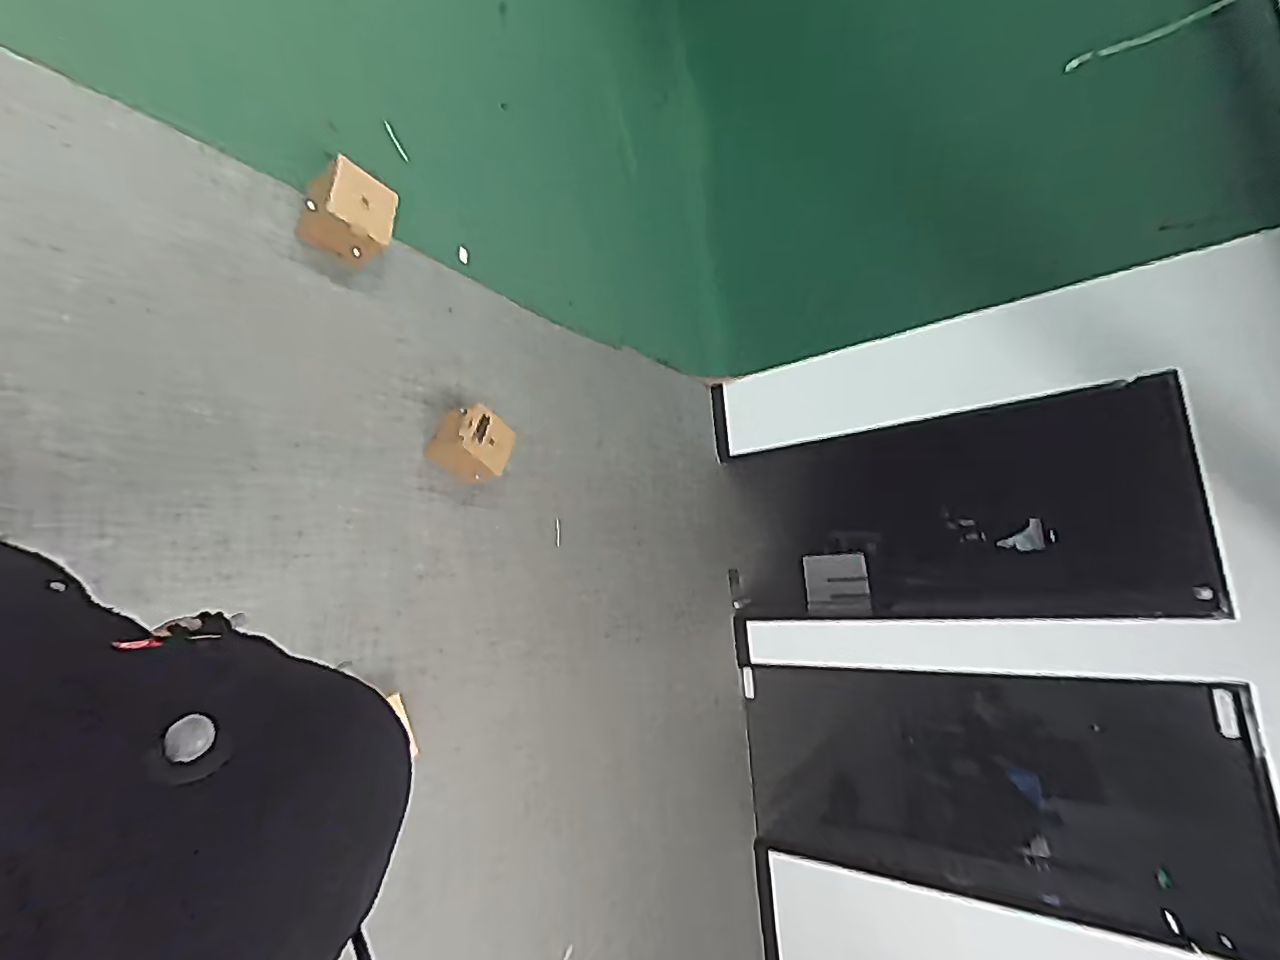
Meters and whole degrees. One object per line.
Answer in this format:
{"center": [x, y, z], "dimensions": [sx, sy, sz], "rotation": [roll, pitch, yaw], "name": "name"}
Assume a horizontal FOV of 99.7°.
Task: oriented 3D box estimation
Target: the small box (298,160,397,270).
{"center": [-0.787, -0.700, 1.454], "dimensions": [0.168, 0.176, 0.179], "rotation": [24, 62, -53], "name": "small box"}
